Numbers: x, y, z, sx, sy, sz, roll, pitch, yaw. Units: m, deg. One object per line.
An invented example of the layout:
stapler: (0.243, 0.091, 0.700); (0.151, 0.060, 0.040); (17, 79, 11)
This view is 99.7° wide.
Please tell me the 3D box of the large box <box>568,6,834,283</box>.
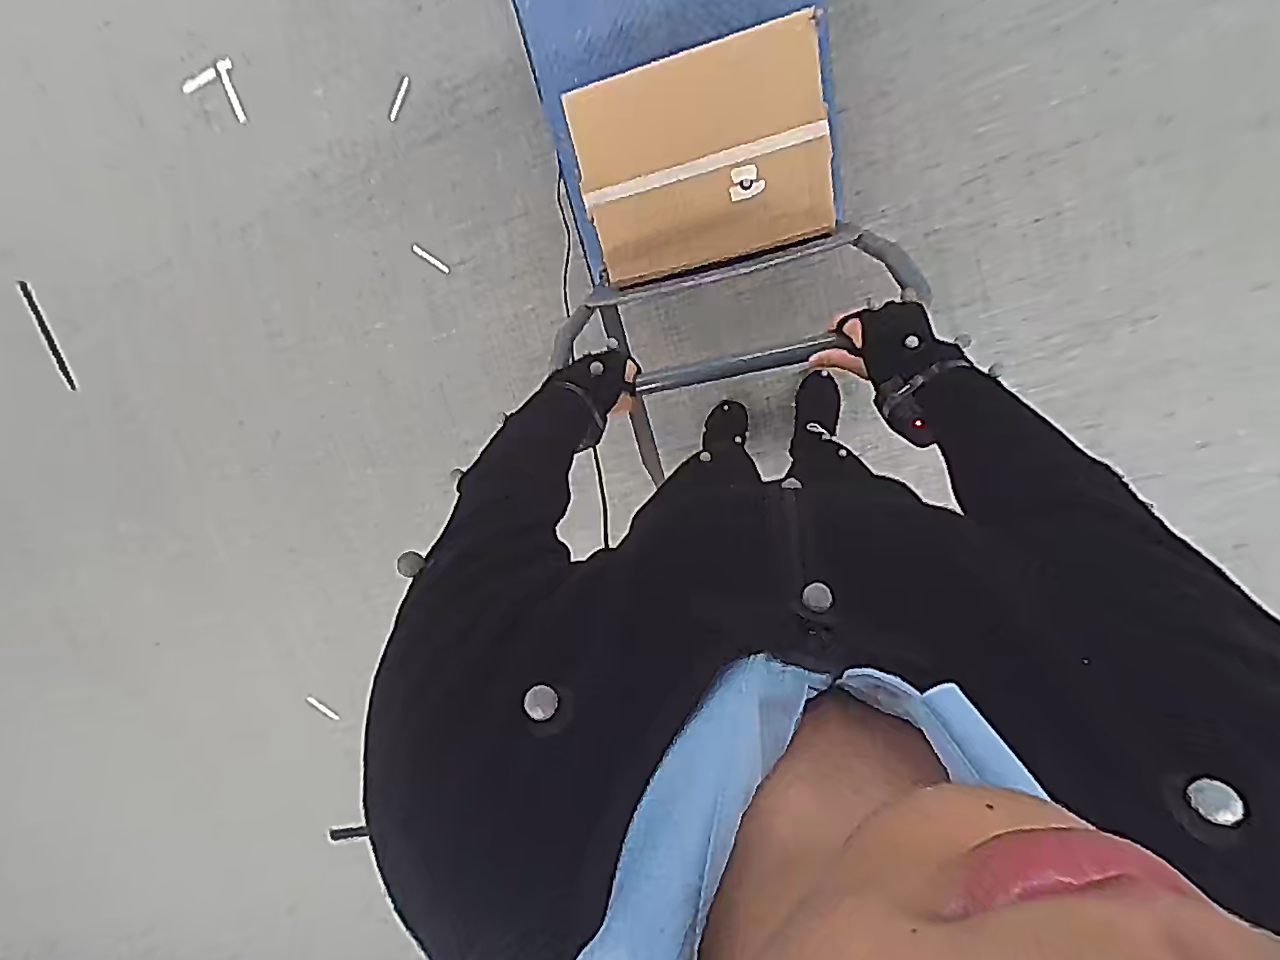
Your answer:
large box: (0.121, -0.606, 1.045); (0.408, 0.320, 0.320); (-11, 116, 12)
